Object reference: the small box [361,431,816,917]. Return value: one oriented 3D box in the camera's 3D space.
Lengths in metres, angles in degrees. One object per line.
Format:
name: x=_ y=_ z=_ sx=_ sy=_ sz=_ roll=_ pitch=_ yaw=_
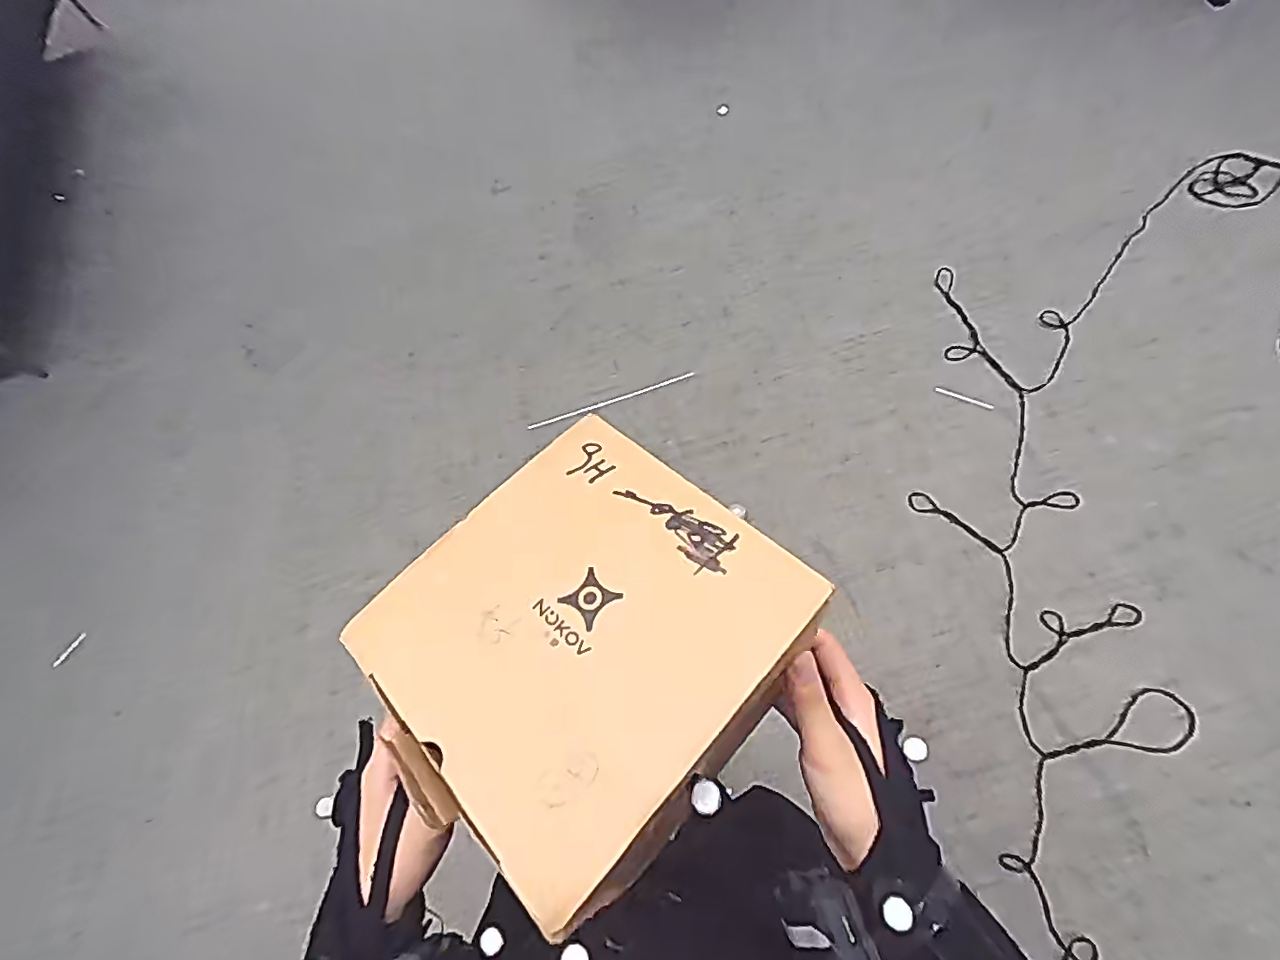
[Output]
small box: x=-0.018 y=0.111 z=0.332 sx=0.168 sy=0.176 sz=0.179 roll=37 pitch=70 yaw=27
